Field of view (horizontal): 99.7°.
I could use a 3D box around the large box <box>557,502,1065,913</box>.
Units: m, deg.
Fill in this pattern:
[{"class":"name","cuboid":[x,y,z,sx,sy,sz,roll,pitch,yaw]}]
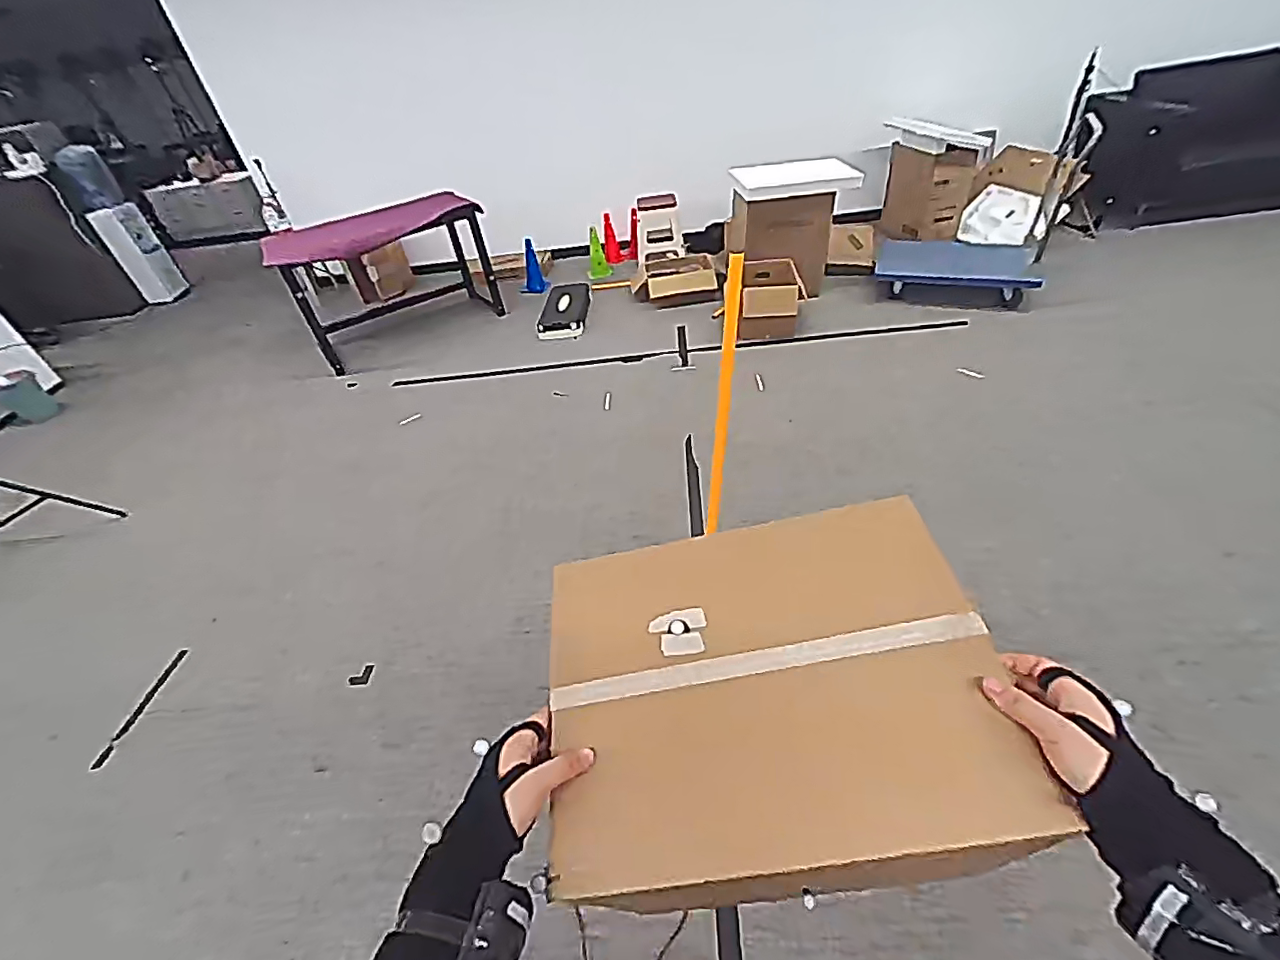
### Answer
[{"class":"large box","cuboid":[0.147,0.276,0.625,0.408,0.320,0.320,-14,47,7]}]
